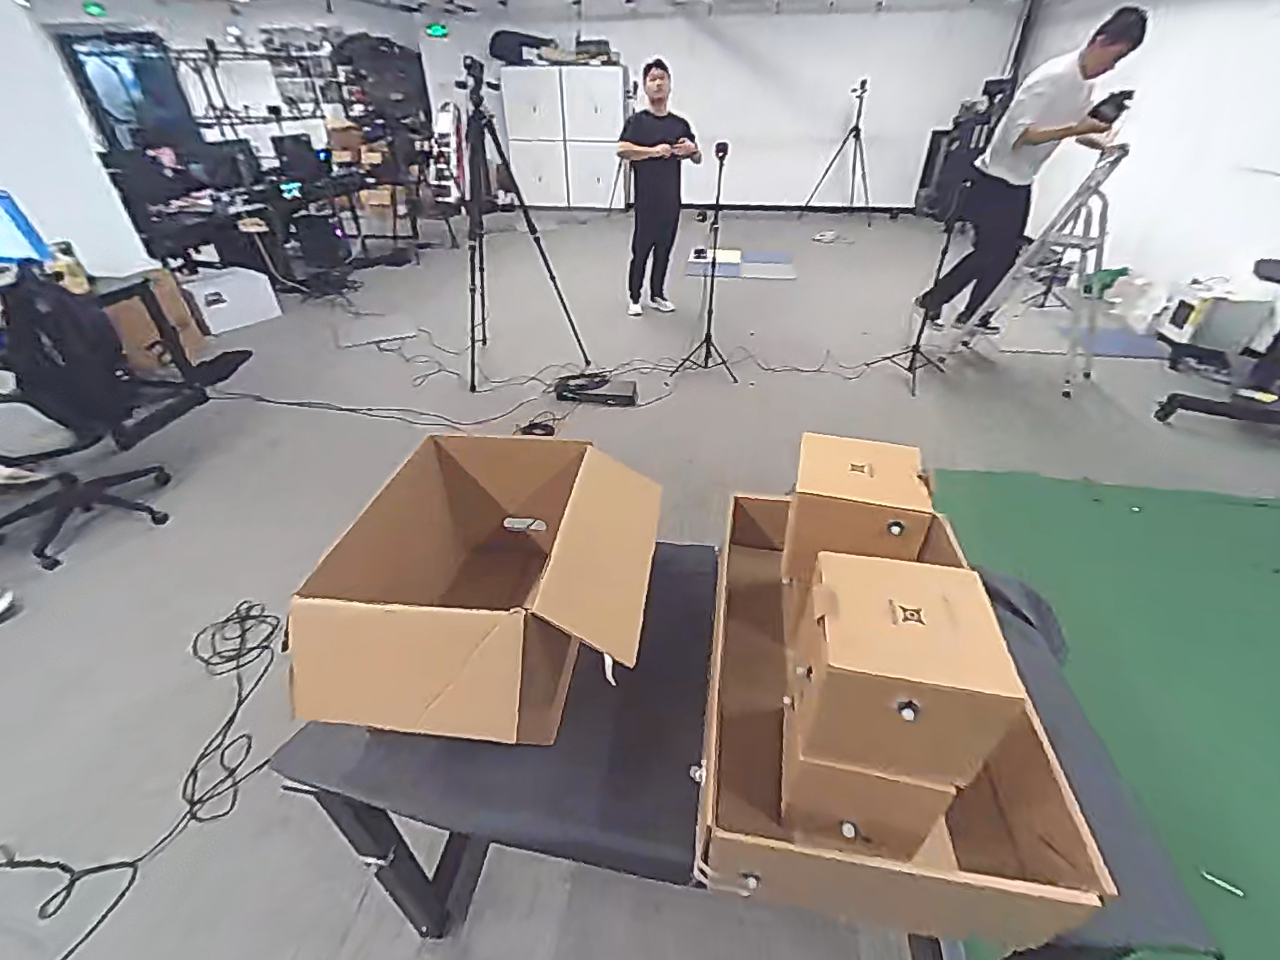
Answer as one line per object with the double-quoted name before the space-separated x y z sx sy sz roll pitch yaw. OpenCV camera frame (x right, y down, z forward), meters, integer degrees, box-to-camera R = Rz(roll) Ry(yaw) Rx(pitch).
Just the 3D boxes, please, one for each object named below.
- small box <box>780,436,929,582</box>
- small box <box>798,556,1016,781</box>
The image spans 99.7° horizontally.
"small box" 0.319 0.055 0.833 0.179 0.176 0.168 10 38 13
"small box" 0.279 0.213 0.618 0.179 0.176 0.168 7 37 10
